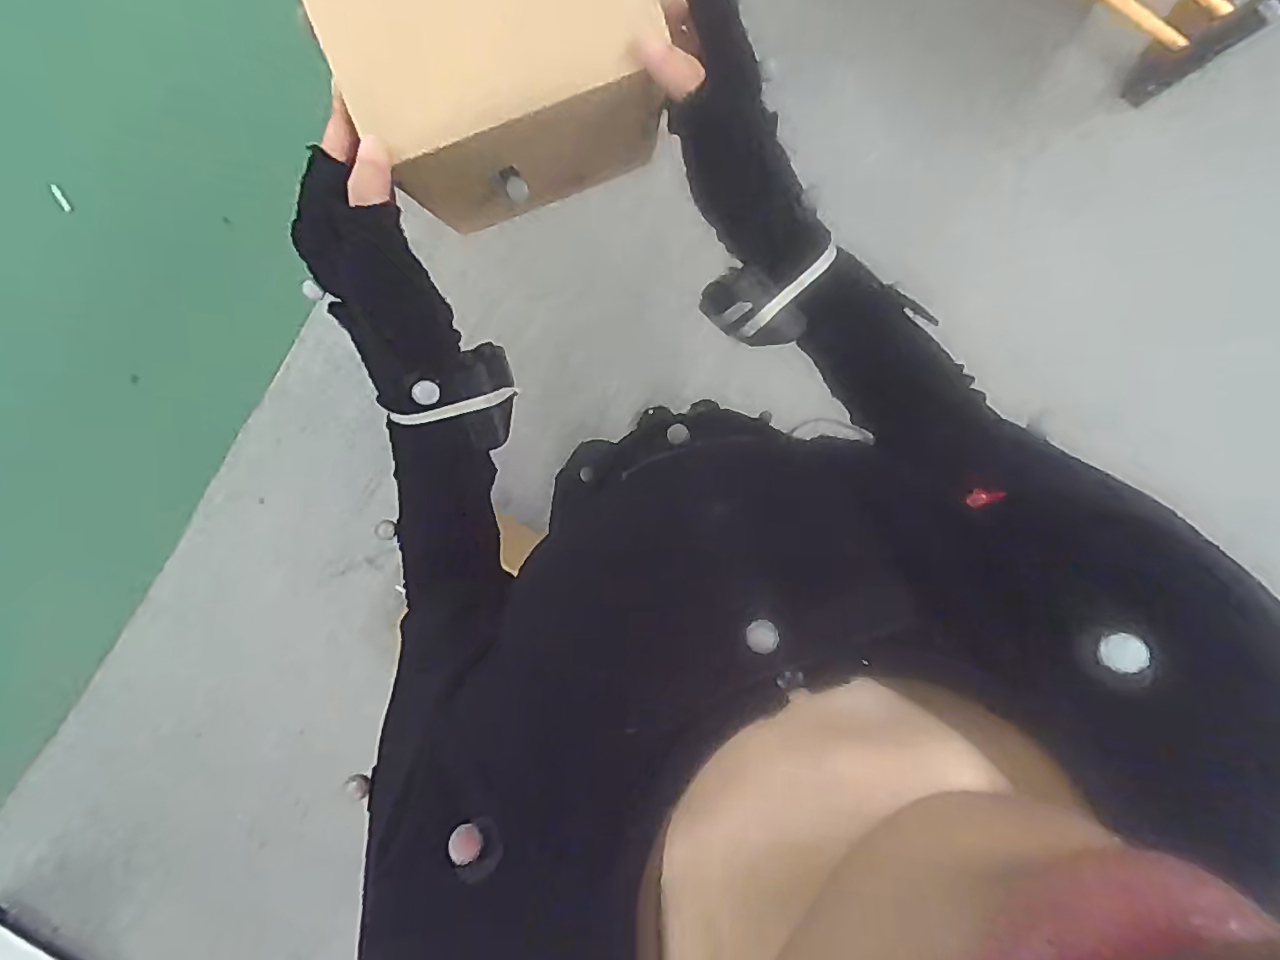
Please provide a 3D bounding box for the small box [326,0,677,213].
[{"bbox_3d":[-0.084,-0.291,0.343,0.168,0.176,0.179,-20,104,2],"label":"small box"}]
